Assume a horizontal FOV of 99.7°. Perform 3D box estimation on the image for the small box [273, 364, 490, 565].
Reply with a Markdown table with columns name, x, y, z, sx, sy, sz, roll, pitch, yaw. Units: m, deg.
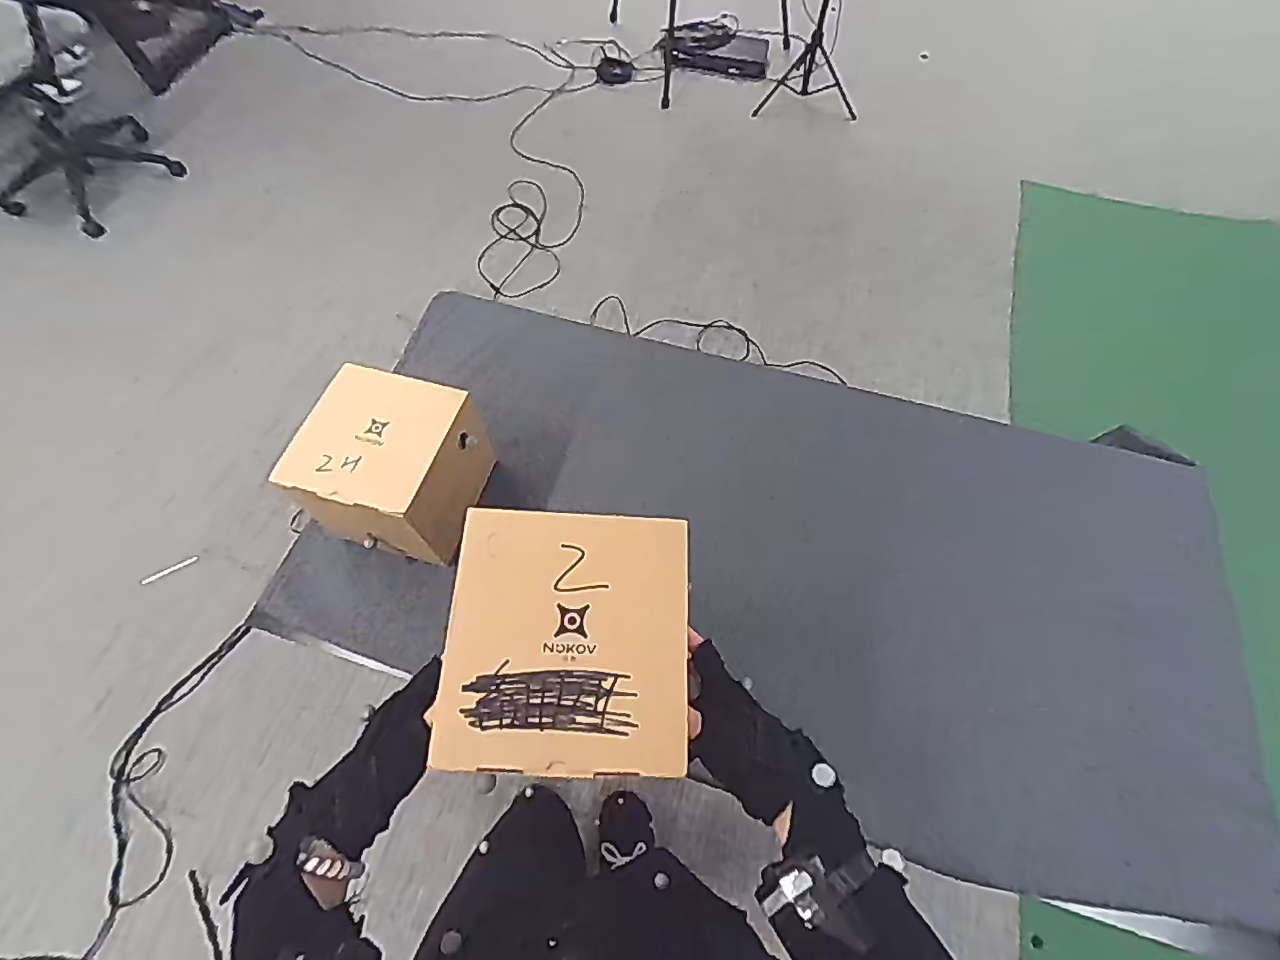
| name | x | y | z | sx | sy | sz | roll | pitch | yaw |
| --- | --- | --- | --- | --- | --- | --- | --- | --- | --- |
| small box | -0.307 | -0.014 | 0.693 | 0.168 | 0.176 | 0.179 | 14 | 62 | 6 |
